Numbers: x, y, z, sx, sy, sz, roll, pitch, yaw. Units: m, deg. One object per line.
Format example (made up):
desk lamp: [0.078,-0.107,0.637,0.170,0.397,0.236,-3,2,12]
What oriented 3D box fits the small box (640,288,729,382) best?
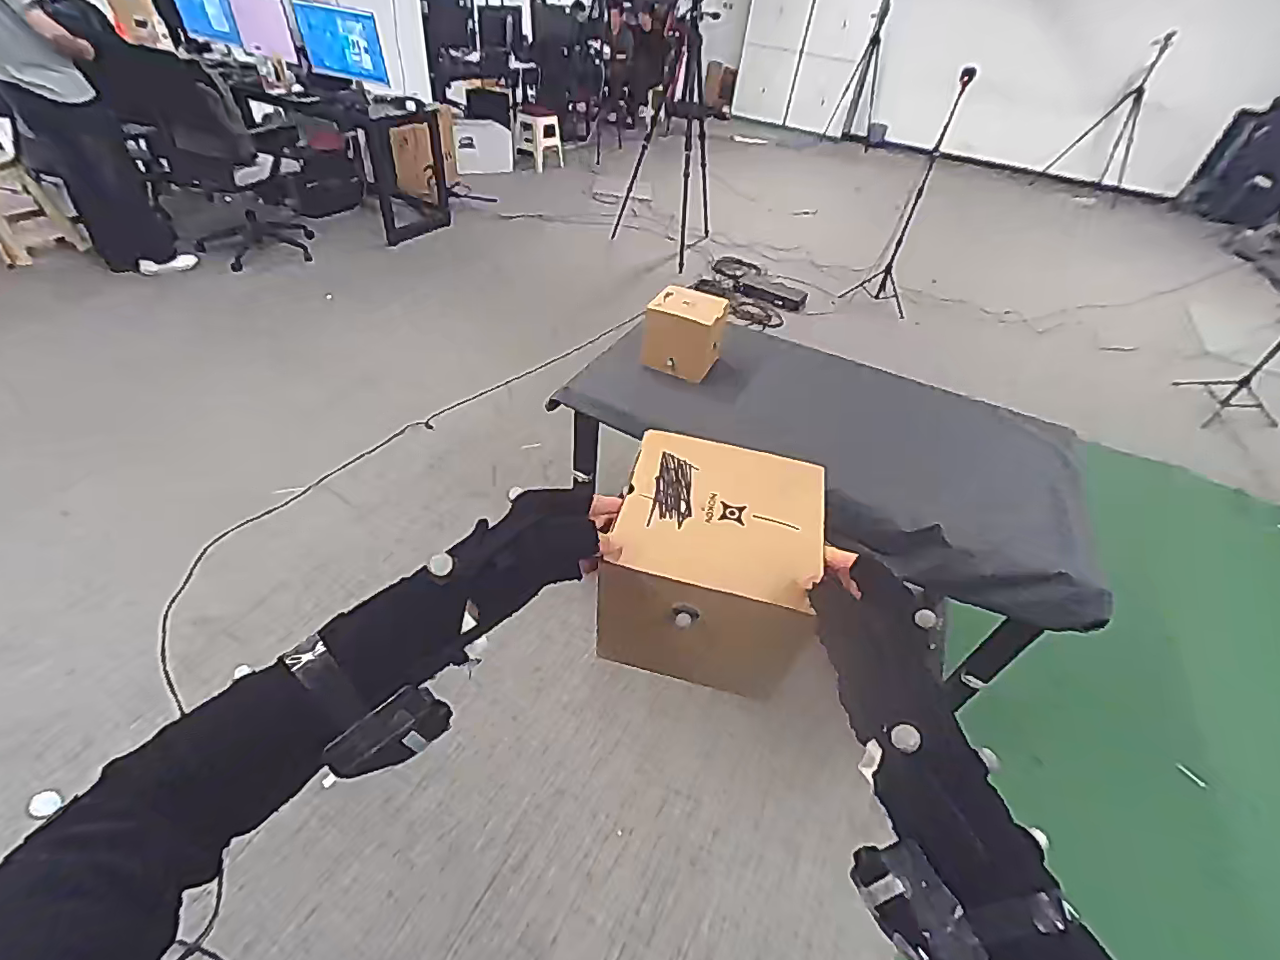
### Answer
small box: [0.116,-0.383,1.442,0.179,0.176,0.168,21,44,13]

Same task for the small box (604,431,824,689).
small box: [0.068,0.081,0.530,0.179,0.176,0.168,13,47,6]
